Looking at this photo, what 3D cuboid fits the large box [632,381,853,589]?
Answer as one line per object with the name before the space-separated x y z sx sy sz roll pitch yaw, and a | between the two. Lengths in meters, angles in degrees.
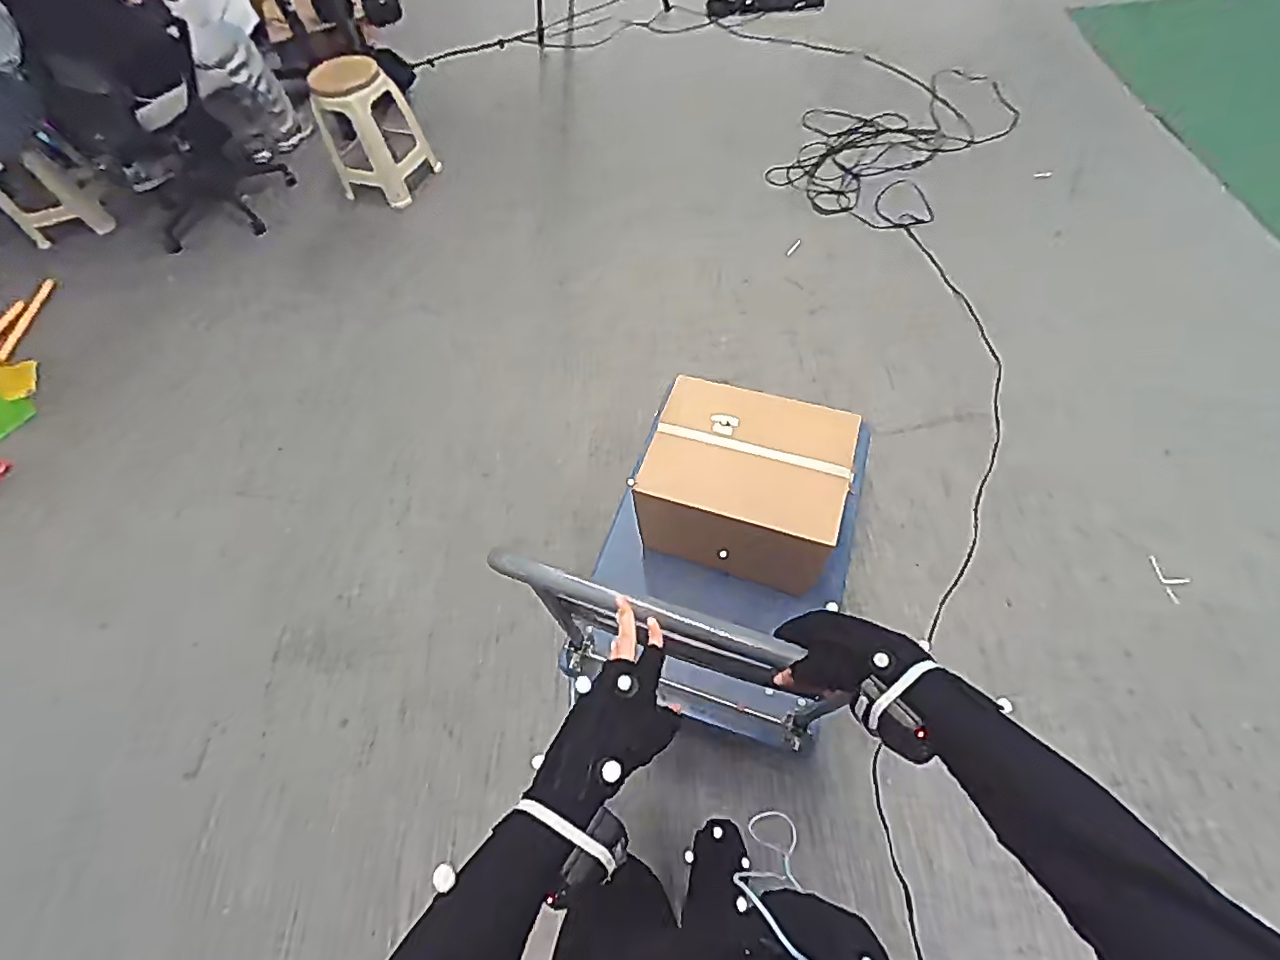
large box | 0.234 0.018 1.250 0.408 0.320 0.320 15 62 15
